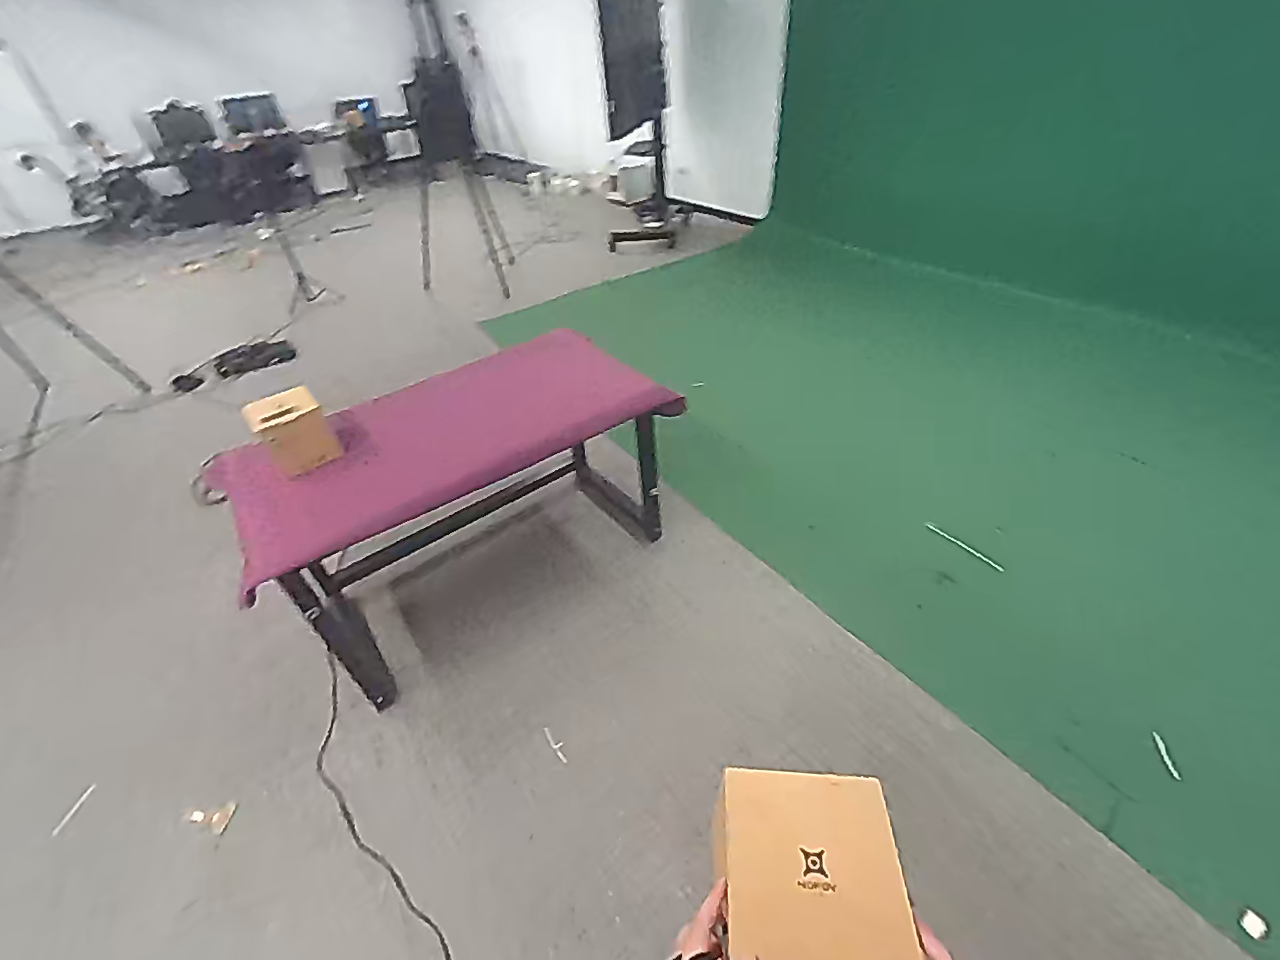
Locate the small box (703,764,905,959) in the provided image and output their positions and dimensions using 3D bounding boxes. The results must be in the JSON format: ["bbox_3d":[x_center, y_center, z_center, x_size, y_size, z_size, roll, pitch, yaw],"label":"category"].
[{"bbox_3d":[0.154,0.430,0.573,0.168,0.176,0.179,1,41,4],"label":"small box"}]
